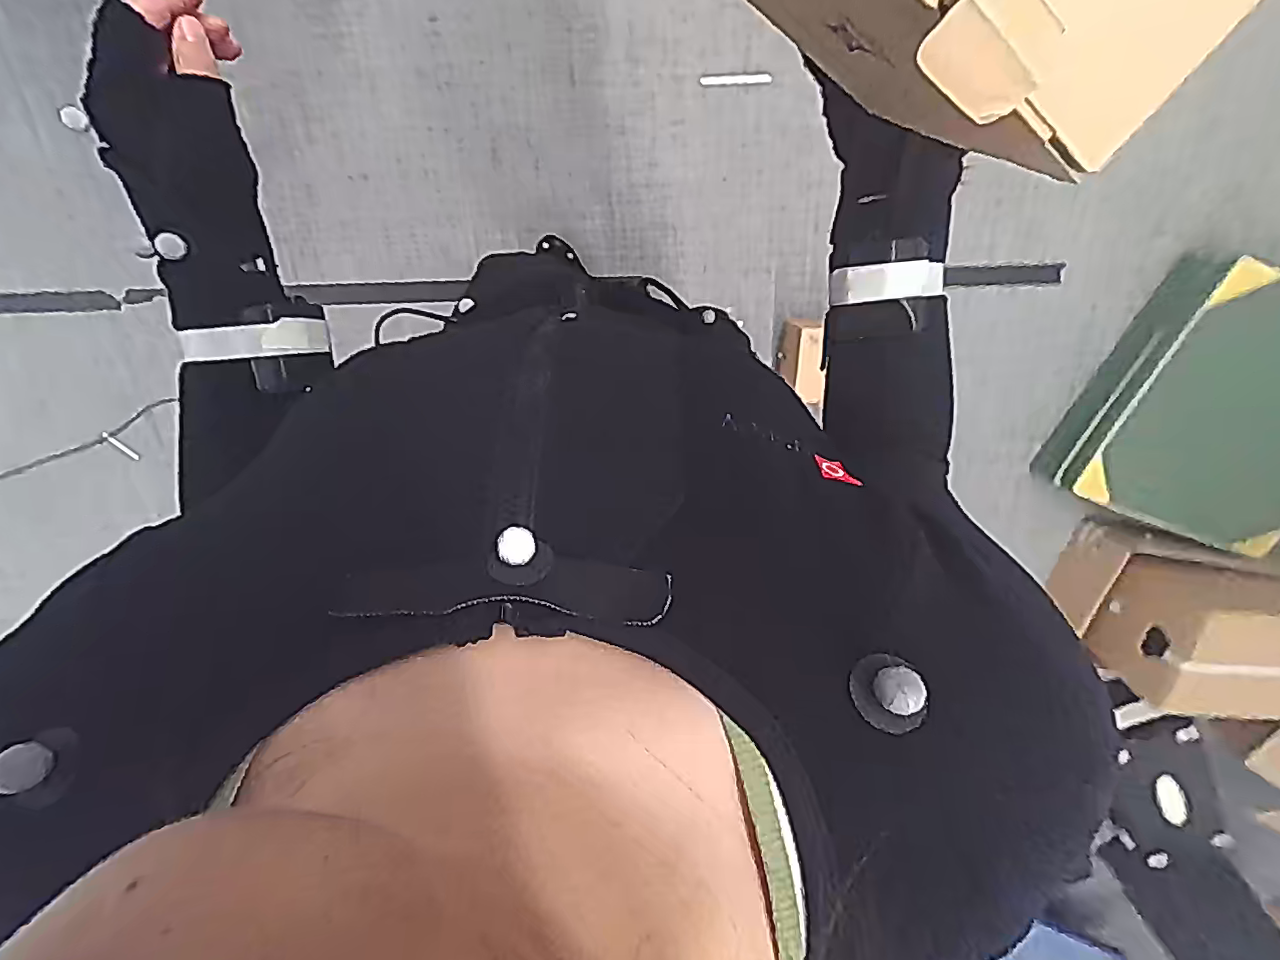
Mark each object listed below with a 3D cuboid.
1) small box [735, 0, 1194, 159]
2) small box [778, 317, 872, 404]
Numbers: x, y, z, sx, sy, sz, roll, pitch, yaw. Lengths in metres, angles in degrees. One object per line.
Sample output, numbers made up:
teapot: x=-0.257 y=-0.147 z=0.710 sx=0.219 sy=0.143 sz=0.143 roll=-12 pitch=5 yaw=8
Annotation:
small box: x=0.126 y=-0.263 z=0.202 sx=0.168 sy=0.179 sz=0.176 roll=16 pitch=125 yaw=-29
small box: x=0.444 y=-0.296 z=1.331 sx=0.168 sy=0.176 sz=0.179 roll=2 pitch=114 yaw=0
